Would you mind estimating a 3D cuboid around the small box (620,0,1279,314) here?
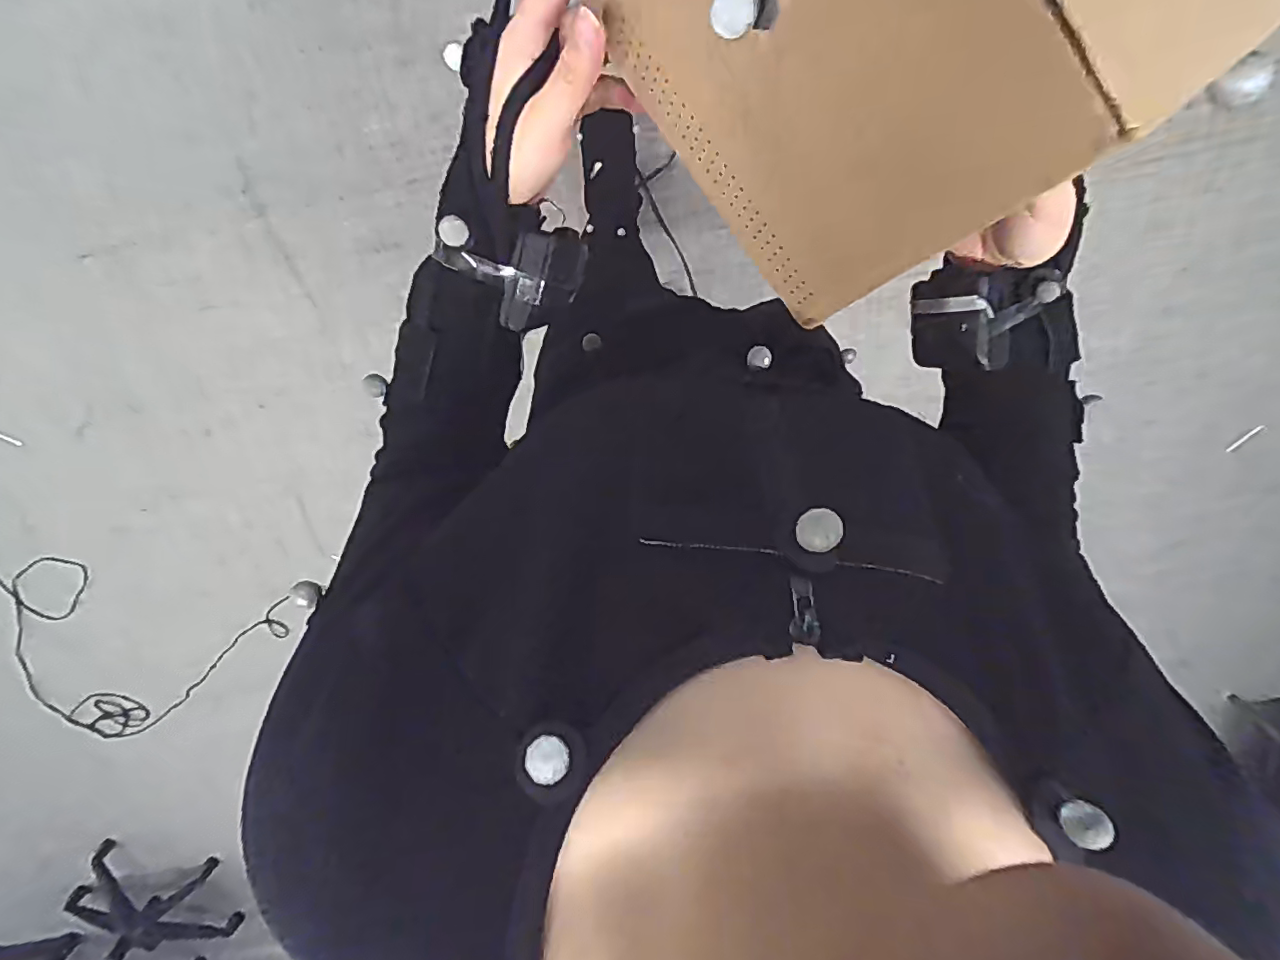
[{"bbox_3d":[0.106,-0.194,0.205,0.168,0.176,0.179,-39,95,-3],"label":"small box"}]
